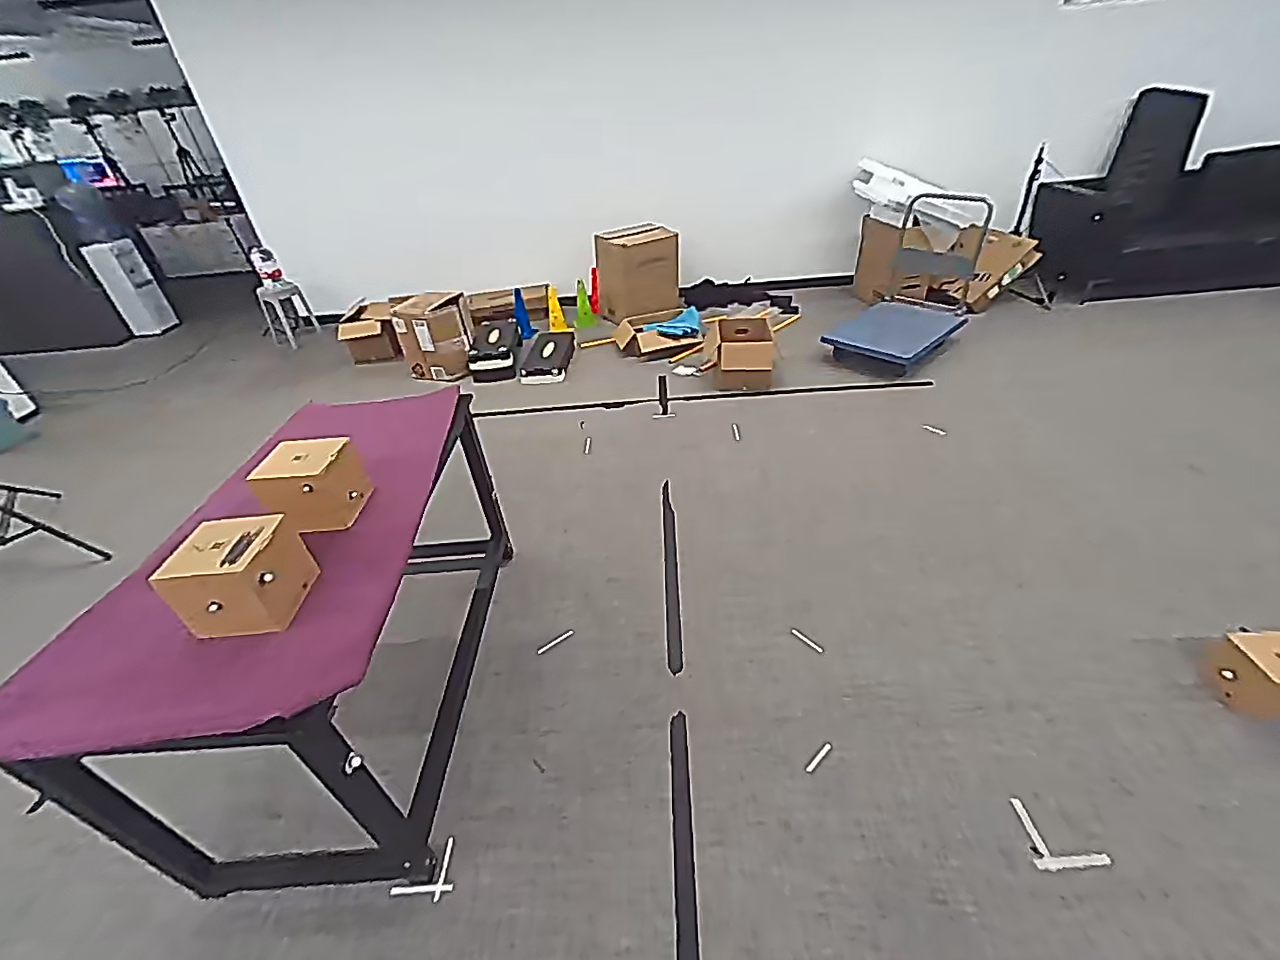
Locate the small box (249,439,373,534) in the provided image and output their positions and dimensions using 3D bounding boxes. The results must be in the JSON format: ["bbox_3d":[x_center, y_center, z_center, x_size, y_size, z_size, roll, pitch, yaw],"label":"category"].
[{"bbox_3d":[-0.797,0.018,1.331,0.179,0.176,0.168,-4,36,1],"label":"small box"}]

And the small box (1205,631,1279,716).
[{"bbox_3d":[1.762,0.545,1.519,0.179,0.176,0.168,-2,36,4],"label":"small box"}]
